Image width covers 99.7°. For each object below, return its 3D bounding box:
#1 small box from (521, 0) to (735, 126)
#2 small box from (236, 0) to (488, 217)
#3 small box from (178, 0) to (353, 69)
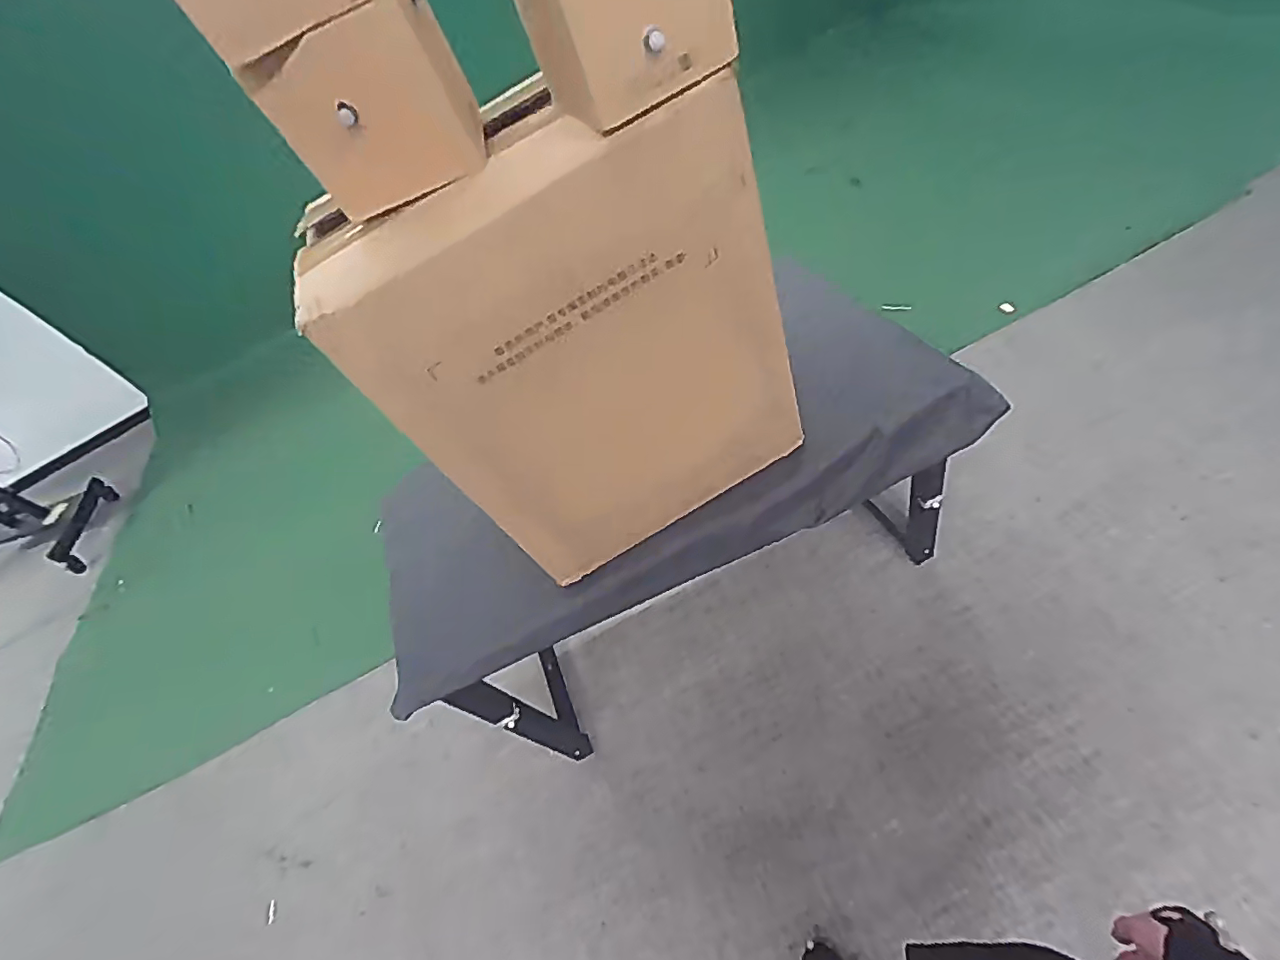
[{"bbox_3d":[-0.024,-0.497,0.552,0.168,0.176,0.179,-30,49,-1],"label":"small box"},{"bbox_3d":[-0.292,-0.433,0.604,0.179,0.176,0.168,-20,57,8],"label":"small box"},{"bbox_3d":[-0.353,-0.505,0.471,0.179,0.176,0.168,-34,57,-4],"label":"small box"}]
